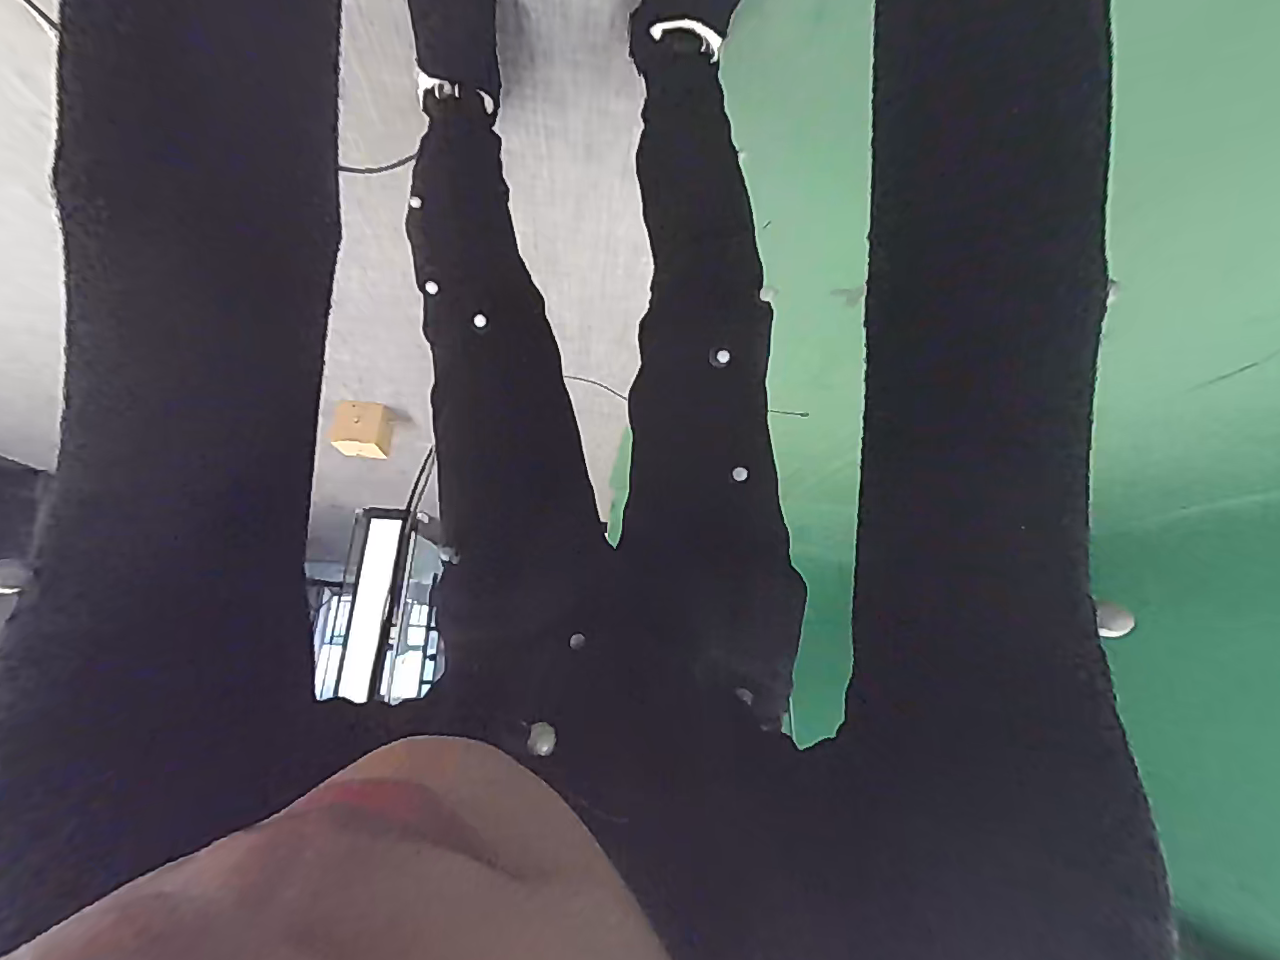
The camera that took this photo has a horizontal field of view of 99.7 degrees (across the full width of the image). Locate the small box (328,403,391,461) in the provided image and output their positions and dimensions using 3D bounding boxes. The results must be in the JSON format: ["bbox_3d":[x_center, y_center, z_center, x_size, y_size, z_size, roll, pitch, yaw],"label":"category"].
[{"bbox_3d":[-1.088,-0.186,2.108,0.168,0.176,0.179,5,162,-9],"label":"small box"}]
